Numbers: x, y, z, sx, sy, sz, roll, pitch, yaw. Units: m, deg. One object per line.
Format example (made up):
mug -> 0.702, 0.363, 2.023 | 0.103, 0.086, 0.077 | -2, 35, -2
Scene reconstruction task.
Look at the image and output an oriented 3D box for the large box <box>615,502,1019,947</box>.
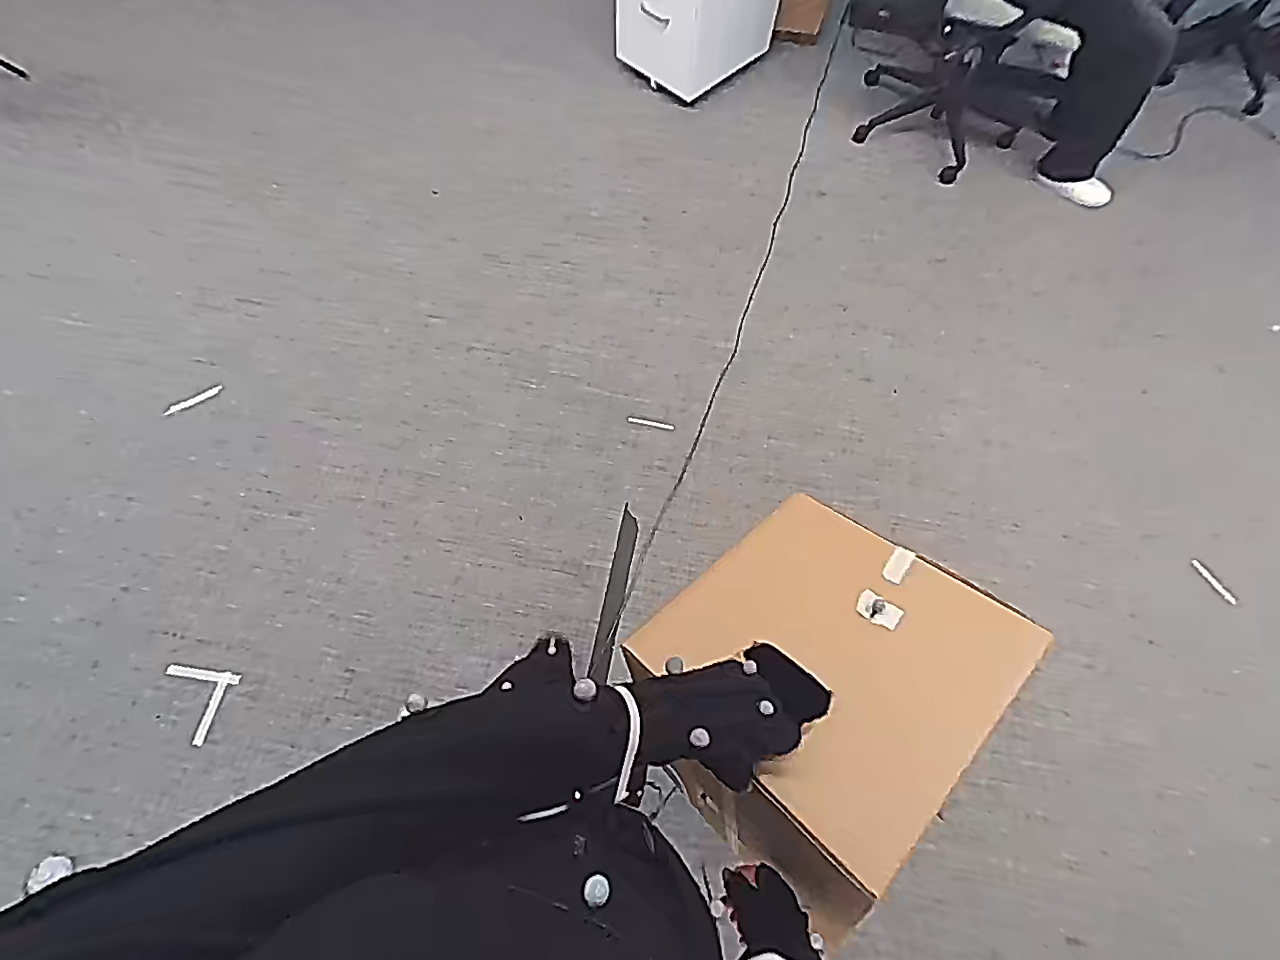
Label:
large box -> 0.215, 0.308, 0.708 | 0.320, 0.408, 0.320 | -36, 48, -22
